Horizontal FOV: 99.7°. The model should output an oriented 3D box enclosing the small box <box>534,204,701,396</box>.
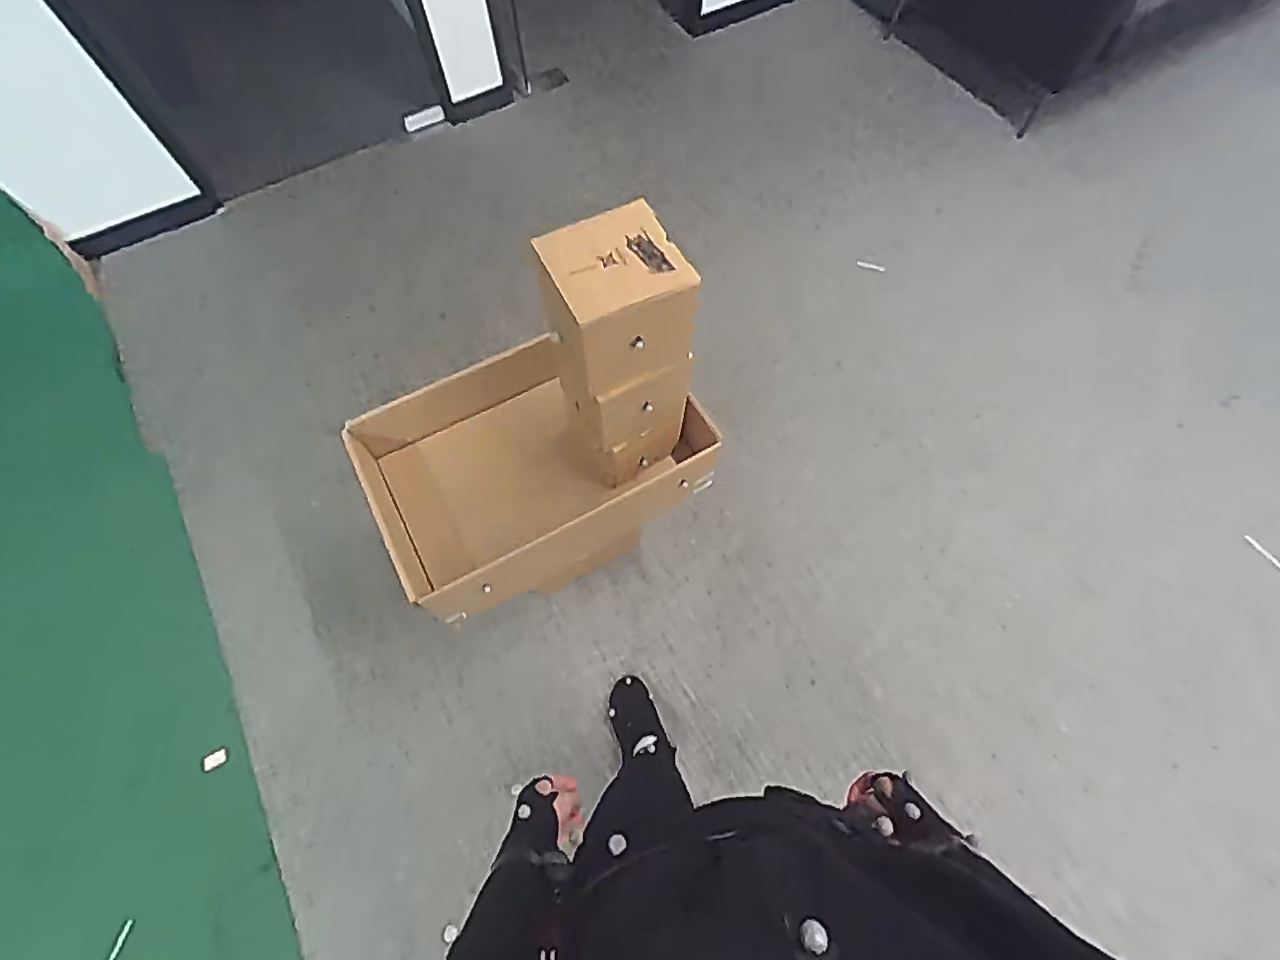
[{"bbox_3d":[-0.033,-0.254,0.785,0.179,0.176,0.168,-25,68,-10],"label":"small box"}]
